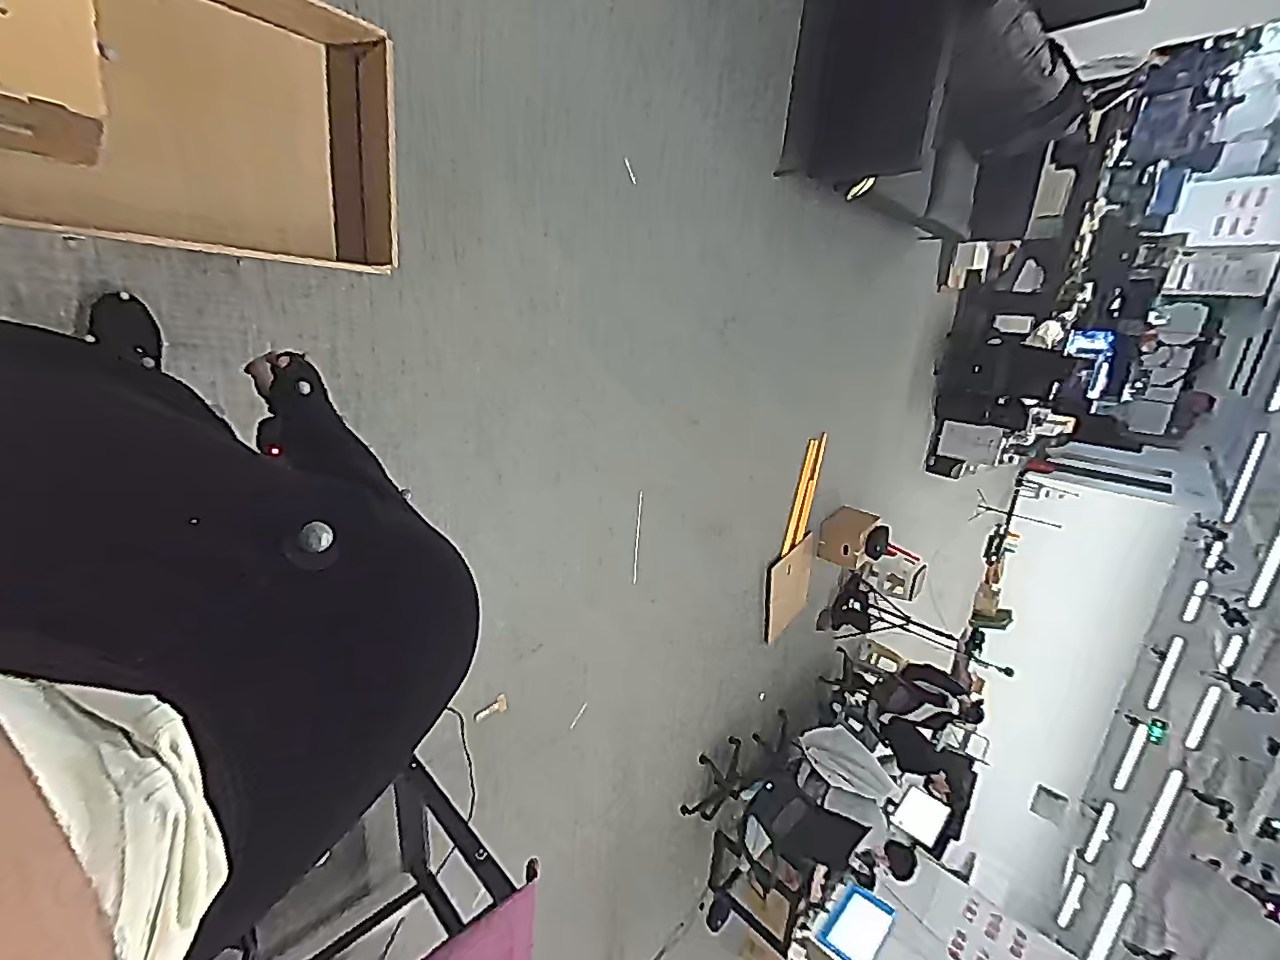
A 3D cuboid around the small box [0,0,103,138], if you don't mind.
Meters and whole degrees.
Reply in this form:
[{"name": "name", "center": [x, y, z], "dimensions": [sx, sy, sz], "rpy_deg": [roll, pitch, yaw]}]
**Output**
[{"name": "small box", "center": [-0.694, -0.495, 0.568], "dimensions": [0.168, 0.176, 0.179], "rpy_deg": [-8, 110, -46]}]
